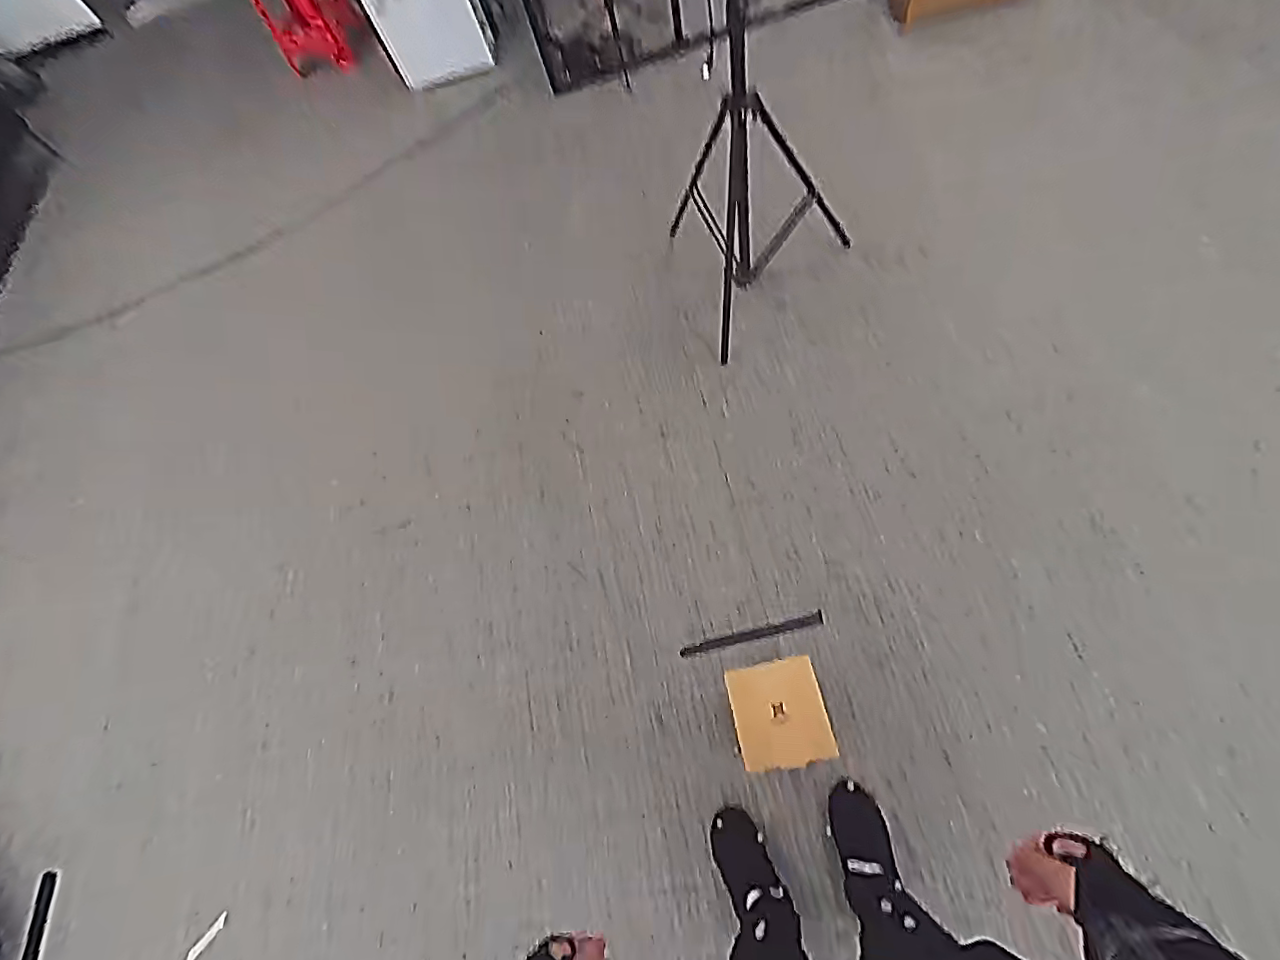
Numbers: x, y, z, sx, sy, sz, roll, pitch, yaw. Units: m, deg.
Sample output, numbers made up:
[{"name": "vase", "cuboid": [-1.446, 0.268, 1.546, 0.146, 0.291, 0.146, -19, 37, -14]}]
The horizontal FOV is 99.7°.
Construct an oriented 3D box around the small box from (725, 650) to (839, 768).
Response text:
[{"name": "small box", "cuboid": [0.266, 0.442, 1.048, 0.168, 0.176, 0.179, -15, 65, 6]}]
